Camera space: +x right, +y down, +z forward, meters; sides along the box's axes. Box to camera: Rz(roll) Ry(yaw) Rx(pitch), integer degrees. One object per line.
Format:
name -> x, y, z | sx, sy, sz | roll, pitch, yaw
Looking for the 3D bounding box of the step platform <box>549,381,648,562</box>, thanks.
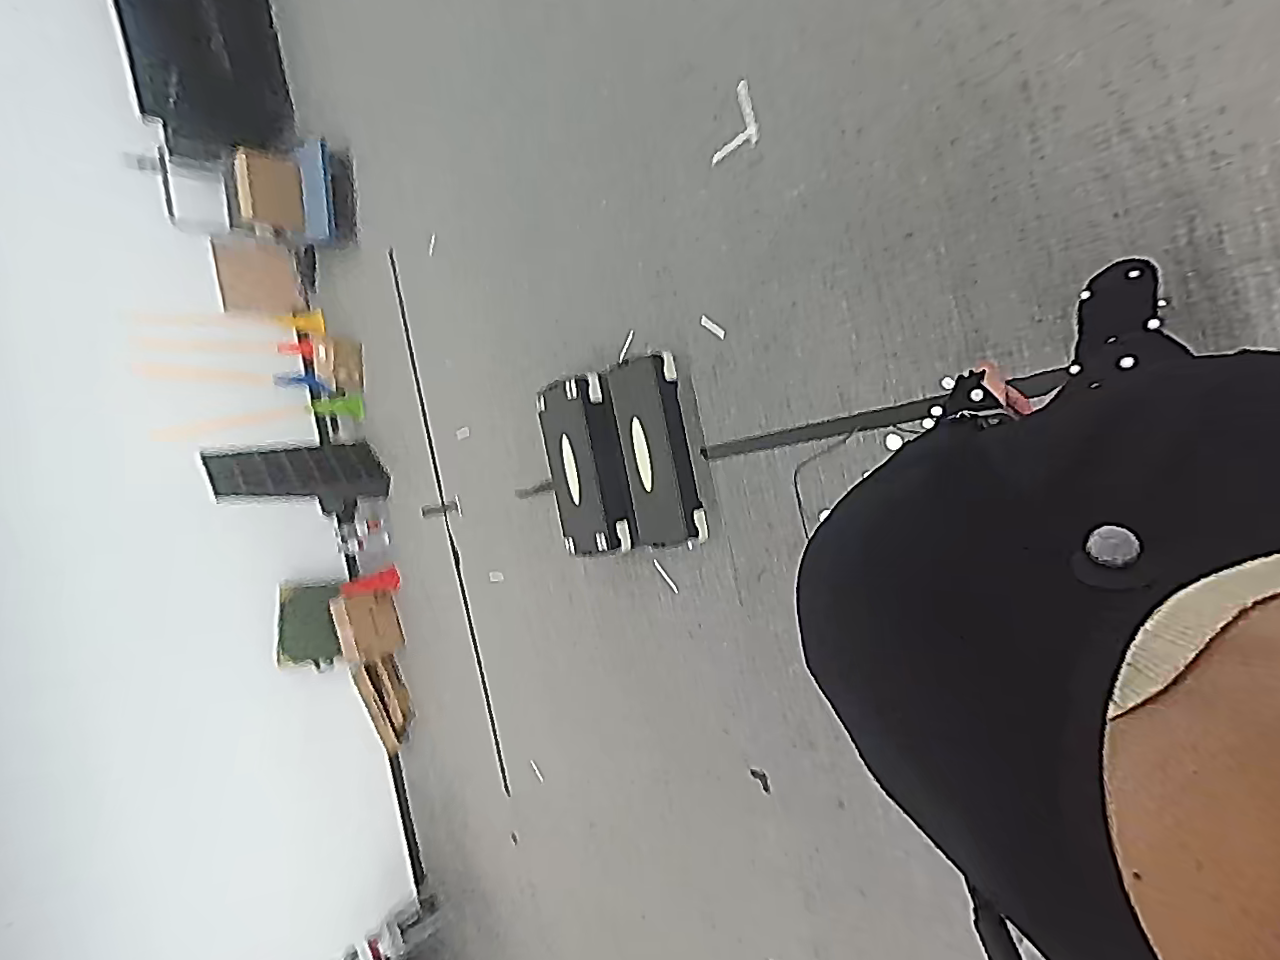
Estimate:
step platform -> -0.165, -0.031, 2.066 | 0.286, 0.204, 0.684 | -4, 93, 46
